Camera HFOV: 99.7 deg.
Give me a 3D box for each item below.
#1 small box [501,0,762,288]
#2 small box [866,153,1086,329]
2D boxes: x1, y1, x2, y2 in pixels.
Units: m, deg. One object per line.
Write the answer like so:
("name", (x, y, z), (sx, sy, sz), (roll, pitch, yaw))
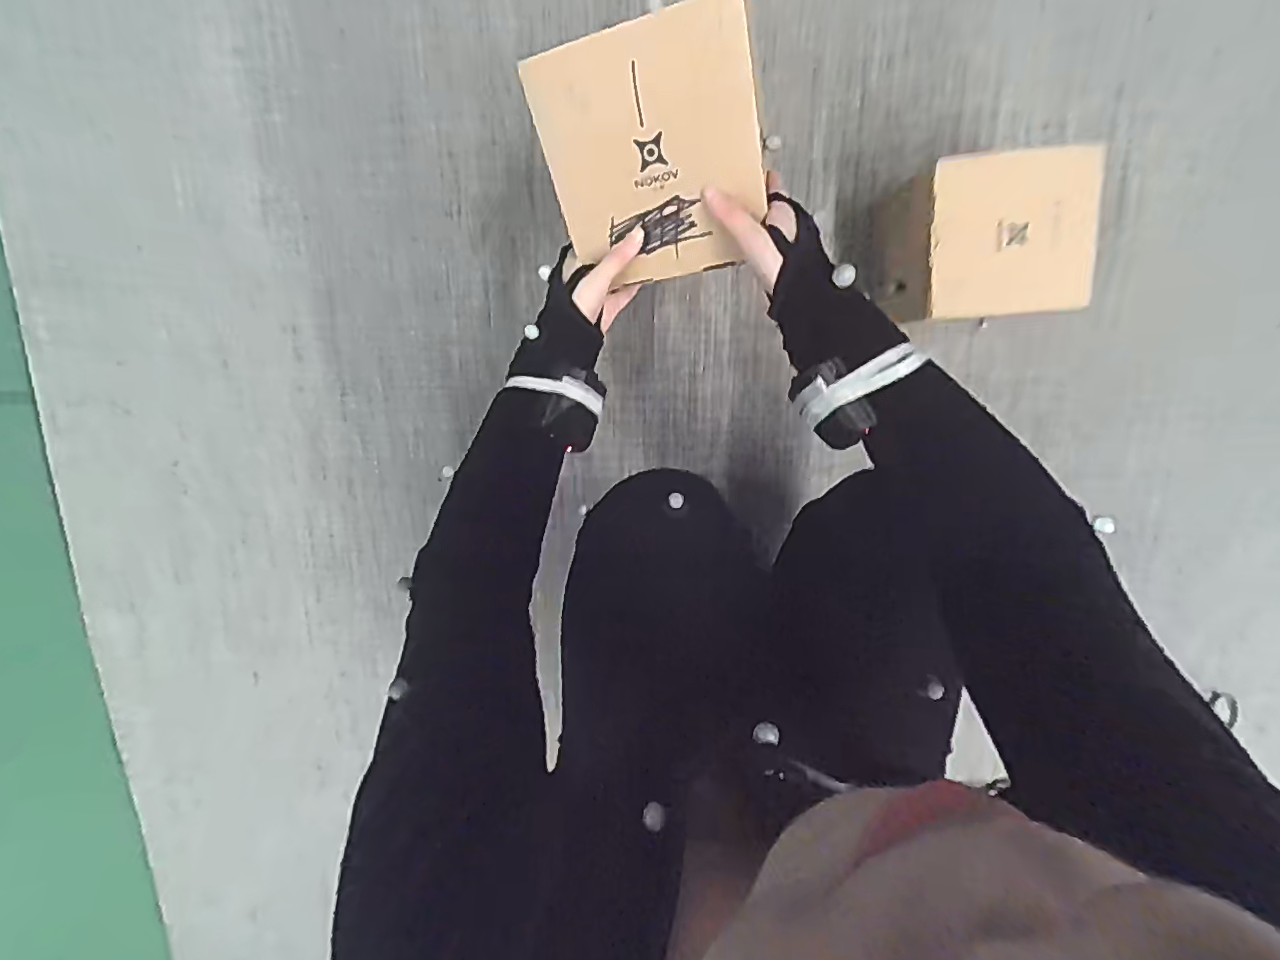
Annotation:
("small box", (0.013, -0.295, 0.472), (0.168, 0.176, 0.179), (-4, 128, 18))
("small box", (0.396, -0.281, 0.673), (0.179, 0.176, 0.168), (-3, 103, 3))
